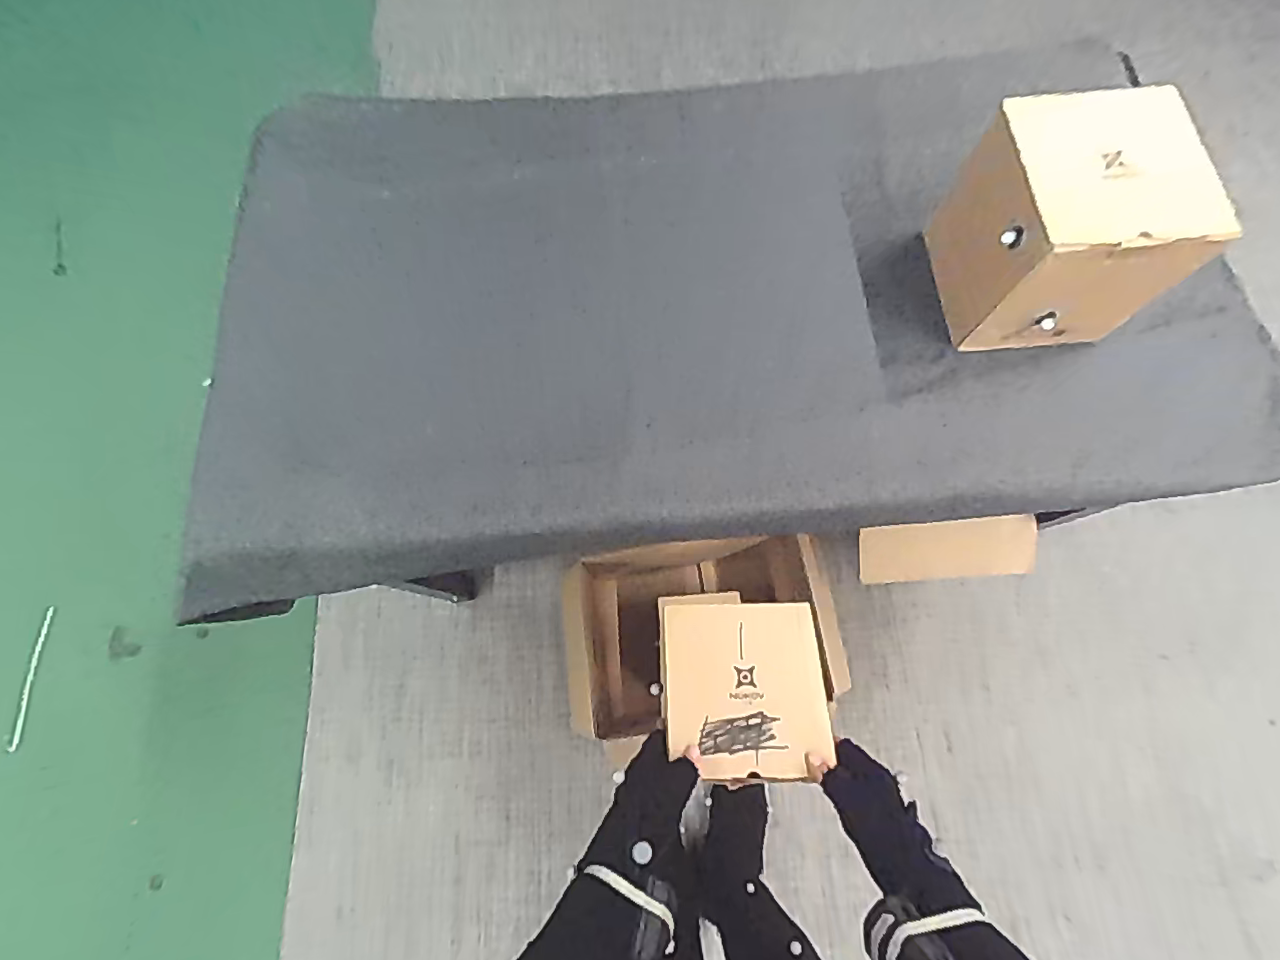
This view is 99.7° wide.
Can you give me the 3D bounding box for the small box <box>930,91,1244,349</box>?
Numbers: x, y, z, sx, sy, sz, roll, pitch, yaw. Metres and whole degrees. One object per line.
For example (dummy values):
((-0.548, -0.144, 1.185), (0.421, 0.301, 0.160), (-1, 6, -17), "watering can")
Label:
((0.435, -0.260, 0.565), (0.168, 0.176, 0.179), (-4, 73, 1), "small box")
